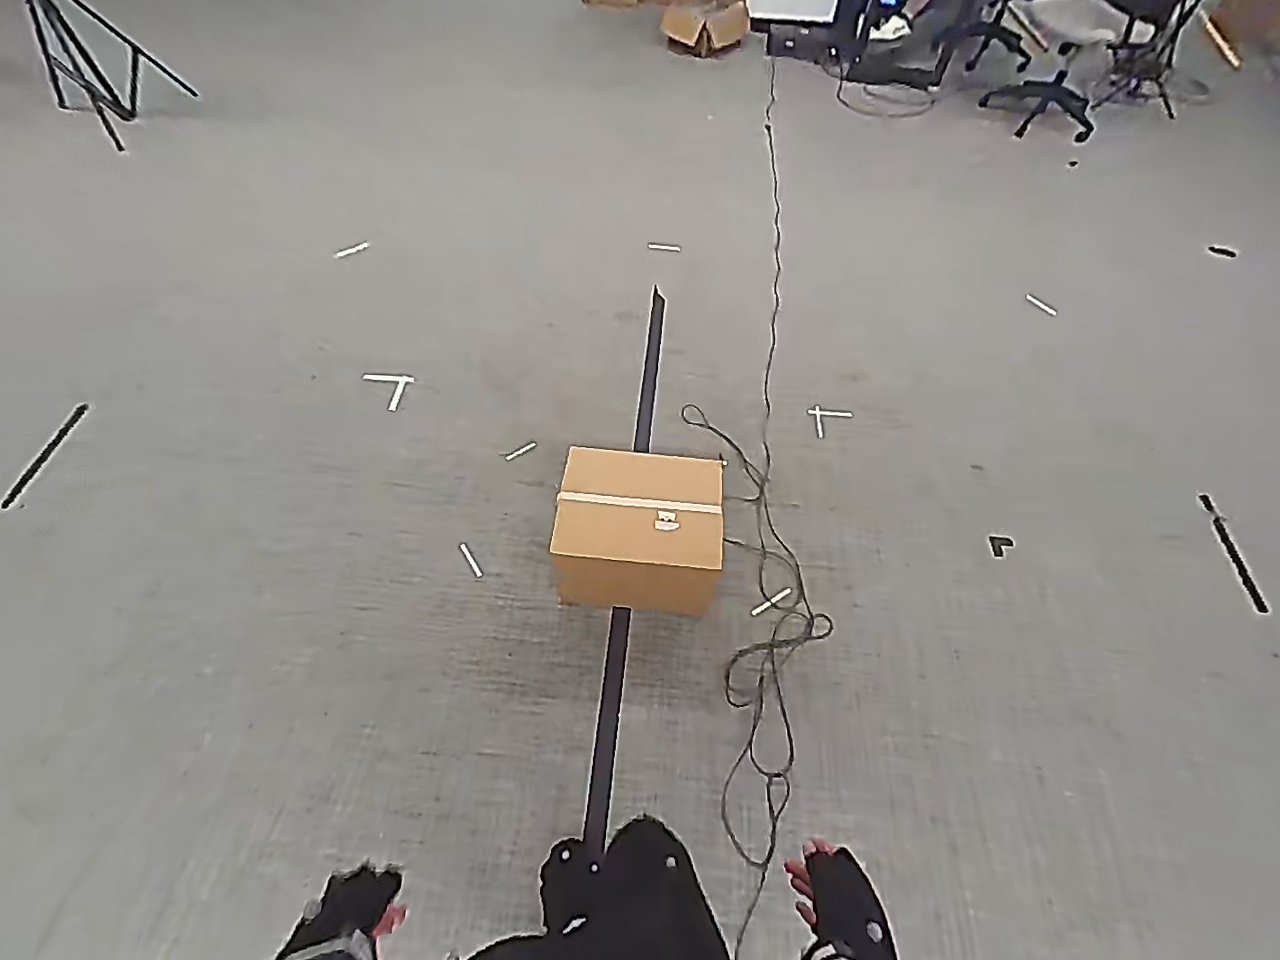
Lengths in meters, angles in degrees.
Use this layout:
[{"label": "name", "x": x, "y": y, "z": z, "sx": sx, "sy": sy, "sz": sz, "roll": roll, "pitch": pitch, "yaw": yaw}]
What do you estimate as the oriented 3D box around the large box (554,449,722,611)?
[{"label": "large box", "x": -0.004, "y": 0.143, "z": 1.464, "sx": 0.408, "sy": 0.320, "sz": 0.320, "roll": 6, "pitch": 57, "yaw": 1}]
